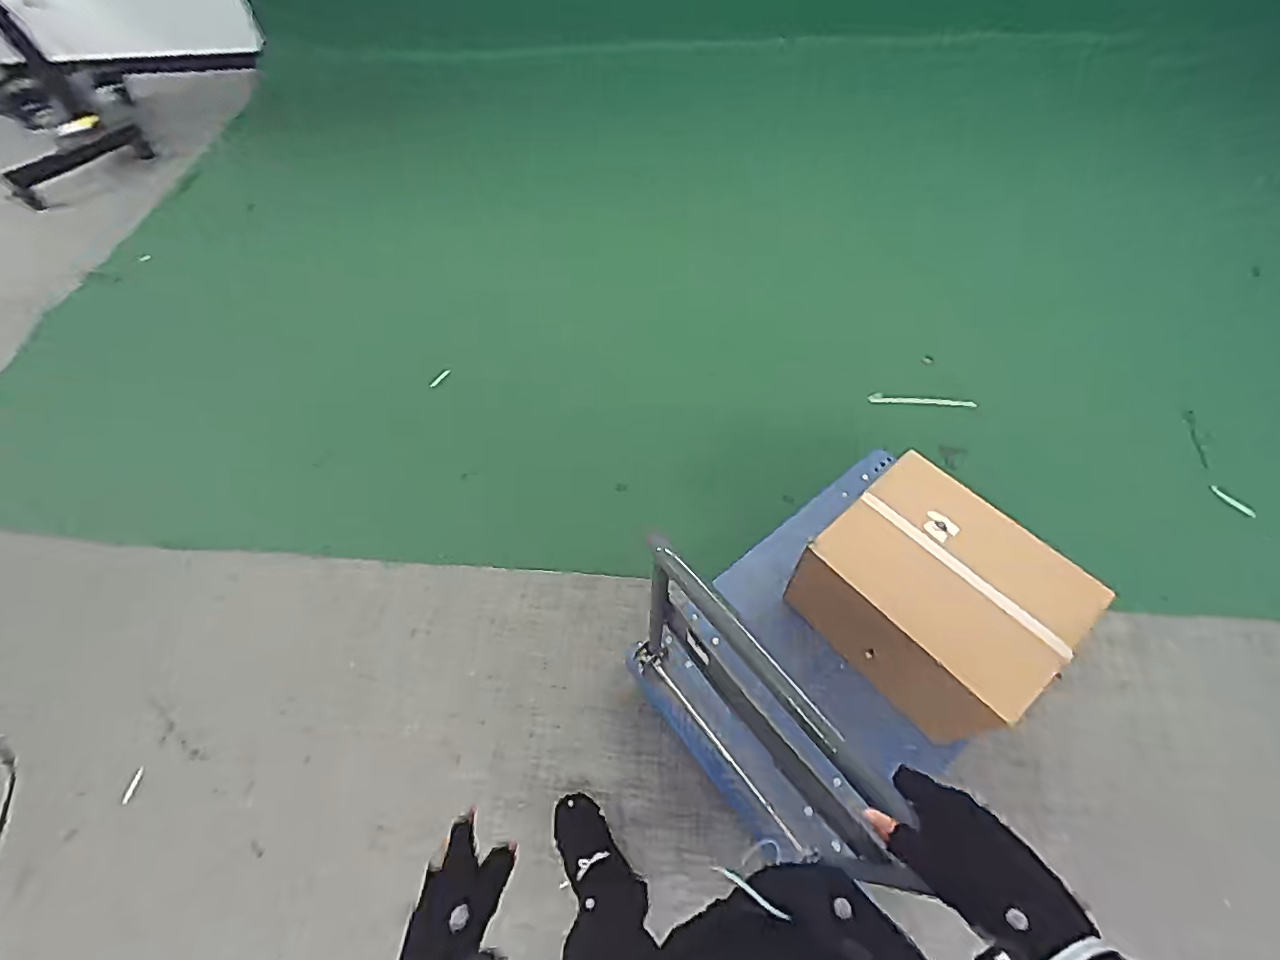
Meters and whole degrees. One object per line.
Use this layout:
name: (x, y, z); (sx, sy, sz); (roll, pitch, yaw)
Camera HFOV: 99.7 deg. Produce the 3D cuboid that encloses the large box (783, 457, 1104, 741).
large box: (0.553, 0.239, 1.076); (0.320, 0.320, 0.408); (-37, 62, -16)
